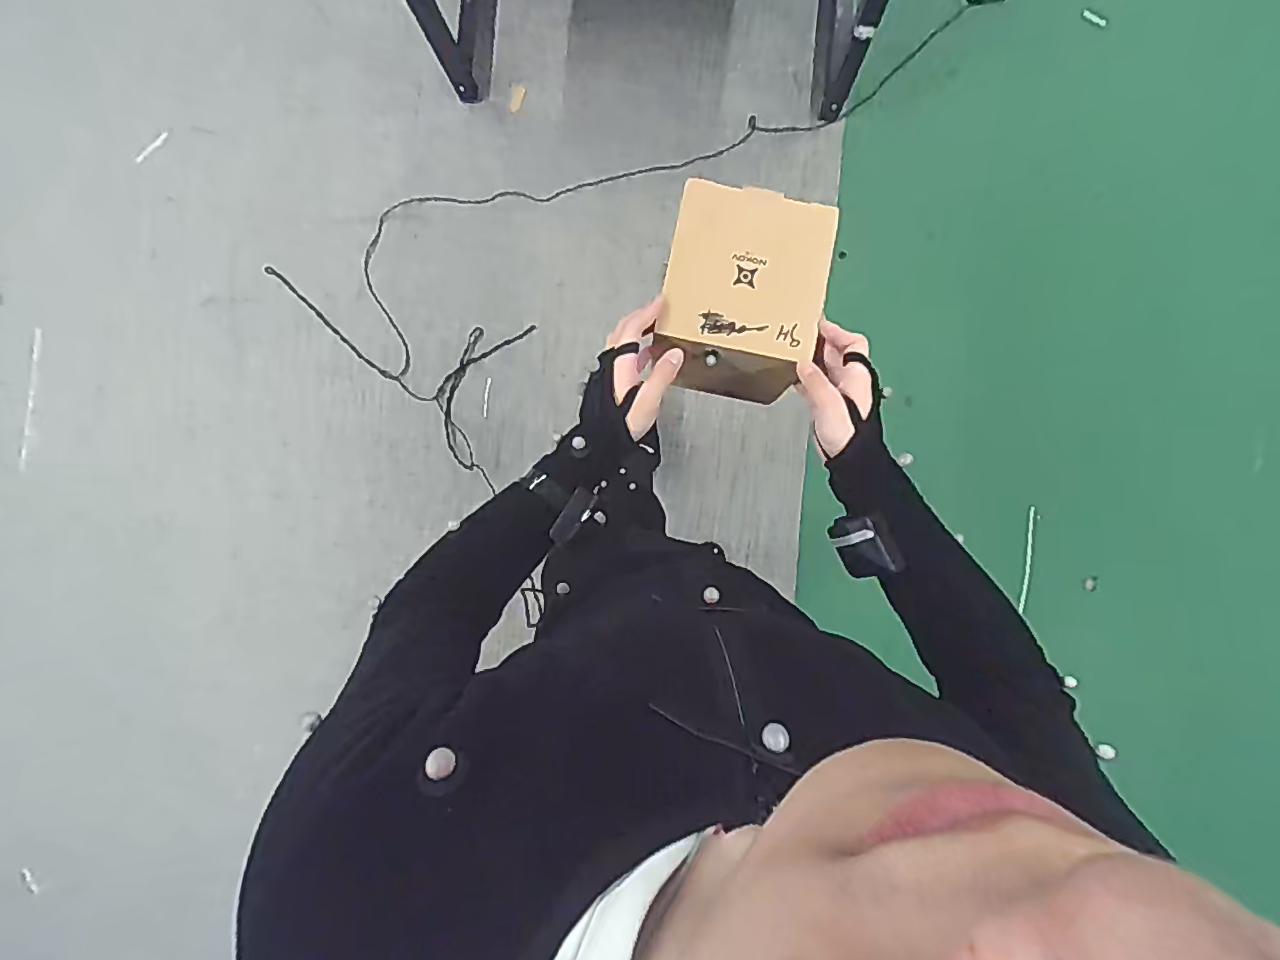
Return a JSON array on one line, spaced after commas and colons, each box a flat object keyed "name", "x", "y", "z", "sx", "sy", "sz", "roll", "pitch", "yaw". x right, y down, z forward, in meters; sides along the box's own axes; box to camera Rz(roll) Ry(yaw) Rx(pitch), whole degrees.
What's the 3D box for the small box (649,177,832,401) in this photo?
[{"name": "small box", "x": 0.105, "y": -0.210, "z": 0.637, "sx": 0.168, "sy": 0.176, "sz": 0.179, "roll": 12, "pitch": 85, "yaw": 2}]
